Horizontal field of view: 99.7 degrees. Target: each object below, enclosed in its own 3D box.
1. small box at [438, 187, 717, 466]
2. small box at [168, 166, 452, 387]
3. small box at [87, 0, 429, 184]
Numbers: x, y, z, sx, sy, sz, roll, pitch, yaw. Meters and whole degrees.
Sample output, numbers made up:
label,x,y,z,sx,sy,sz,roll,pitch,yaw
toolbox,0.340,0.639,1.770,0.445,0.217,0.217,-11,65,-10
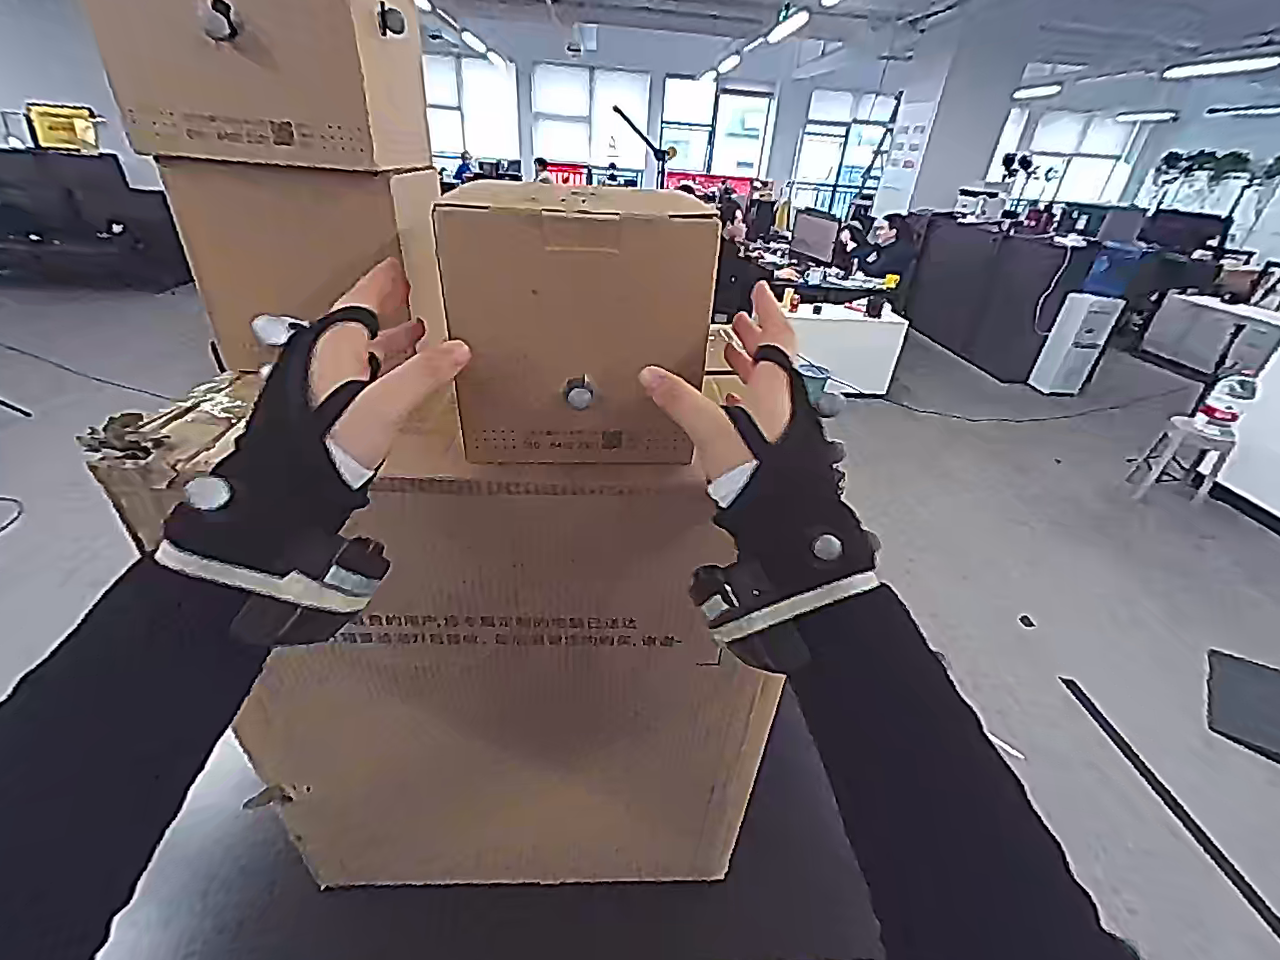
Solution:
label,x,y,z,sx,sy,sz,roll,pitch,yaw
small box,-0.045,-0.126,0.425,0.168,0.176,0.179,-1,32,-5
small box,-0.284,-0.200,0.519,0.168,0.176,0.179,-1,32,-8
small box,-0.275,-0.332,0.421,0.168,0.176,0.179,0,32,-7
